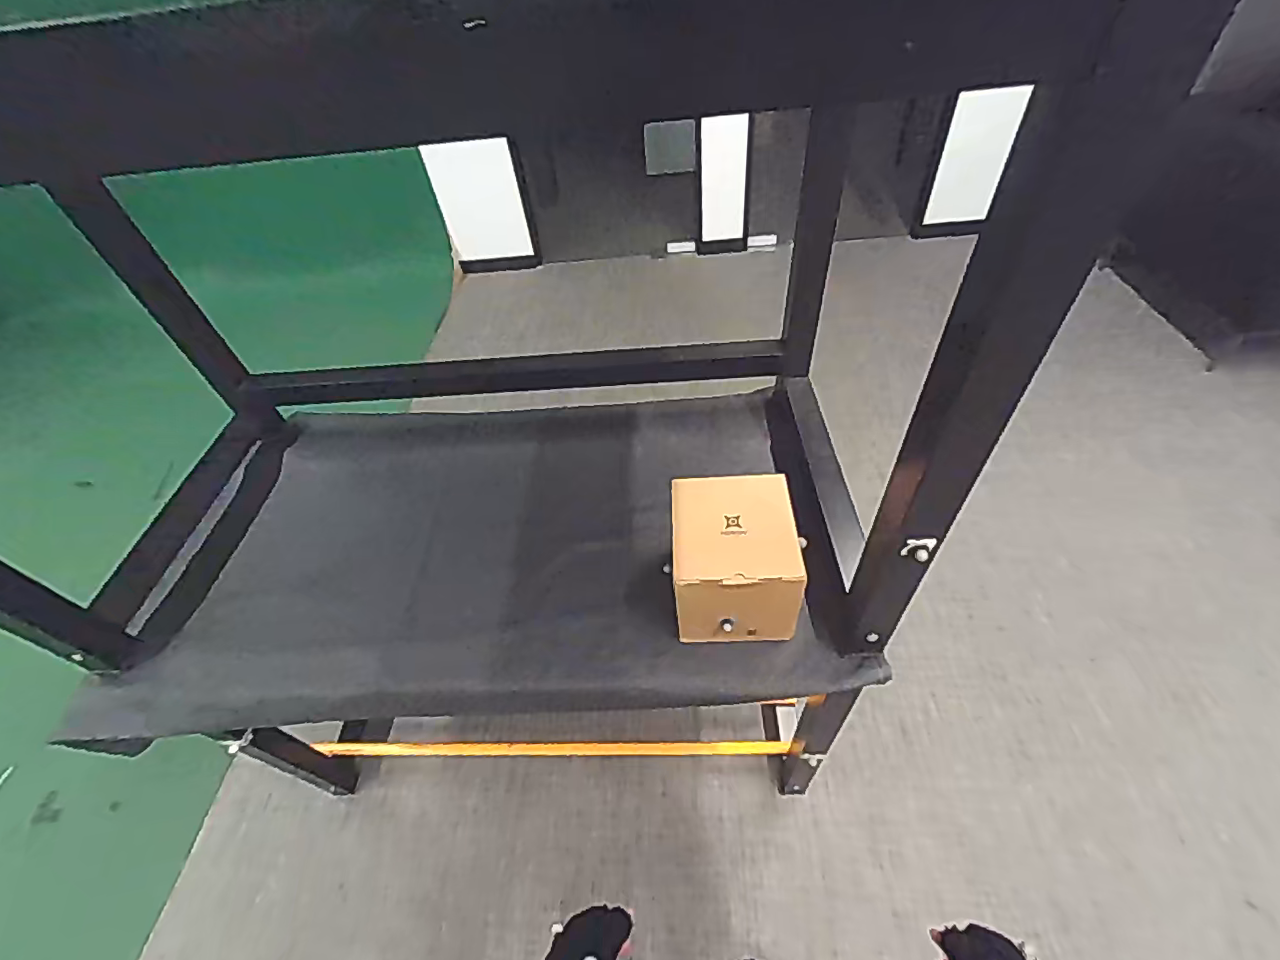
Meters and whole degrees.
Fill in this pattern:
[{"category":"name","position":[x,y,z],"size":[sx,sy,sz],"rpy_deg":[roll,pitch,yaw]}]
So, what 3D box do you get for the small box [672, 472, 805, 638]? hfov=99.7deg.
[{"category":"small box","position":[0.131,0.110,0.783],"size":[0.168,0.176,0.179],"rpy_deg":[-3,48,5]}]
